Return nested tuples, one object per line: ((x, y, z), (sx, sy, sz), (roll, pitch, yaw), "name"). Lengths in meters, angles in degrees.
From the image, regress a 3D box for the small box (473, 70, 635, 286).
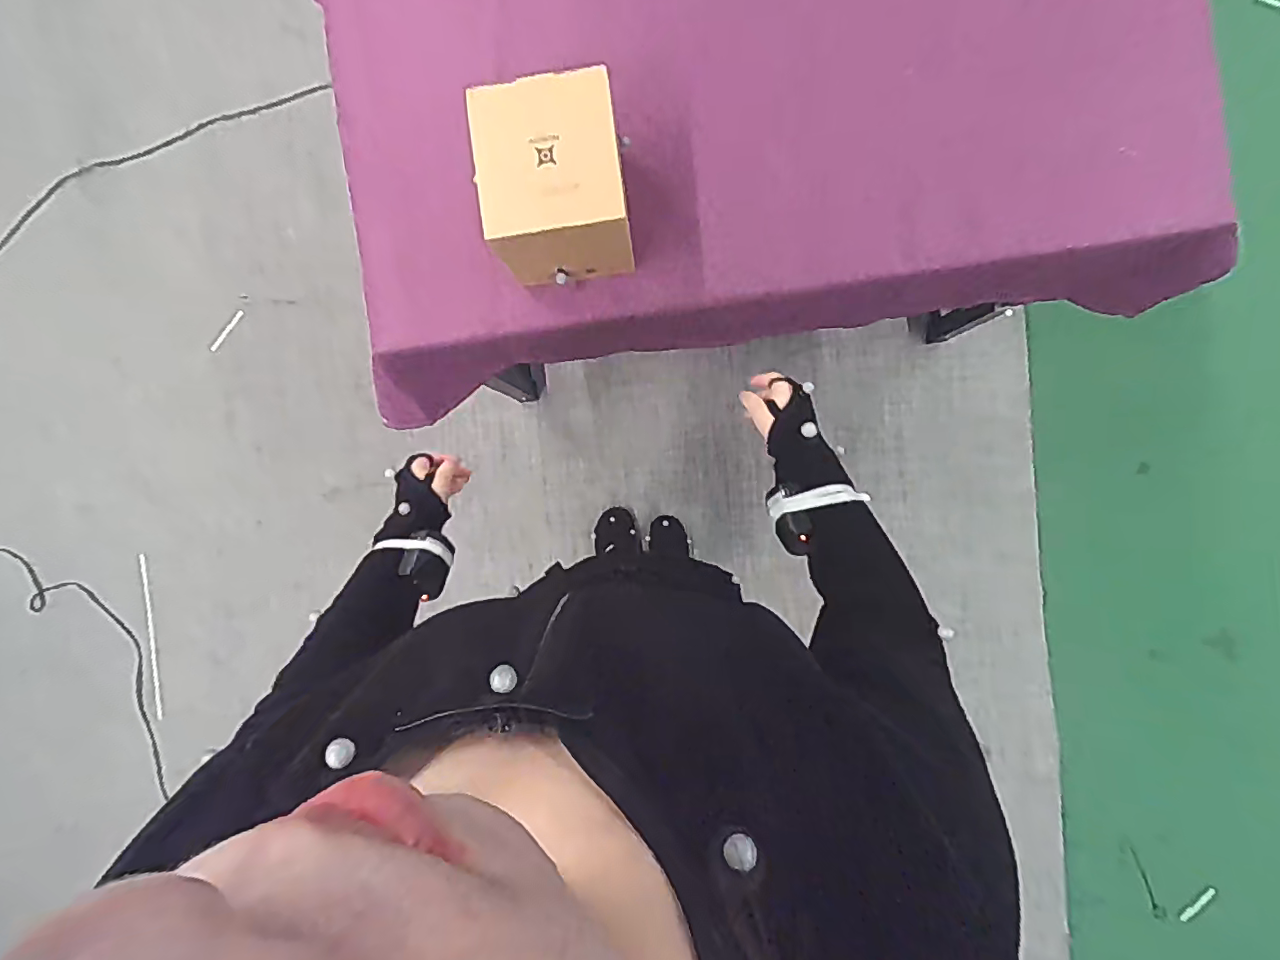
((-0.099, -0.371, 0.695), (0.168, 0.176, 0.179), (-6, 91, 3), "small box")
